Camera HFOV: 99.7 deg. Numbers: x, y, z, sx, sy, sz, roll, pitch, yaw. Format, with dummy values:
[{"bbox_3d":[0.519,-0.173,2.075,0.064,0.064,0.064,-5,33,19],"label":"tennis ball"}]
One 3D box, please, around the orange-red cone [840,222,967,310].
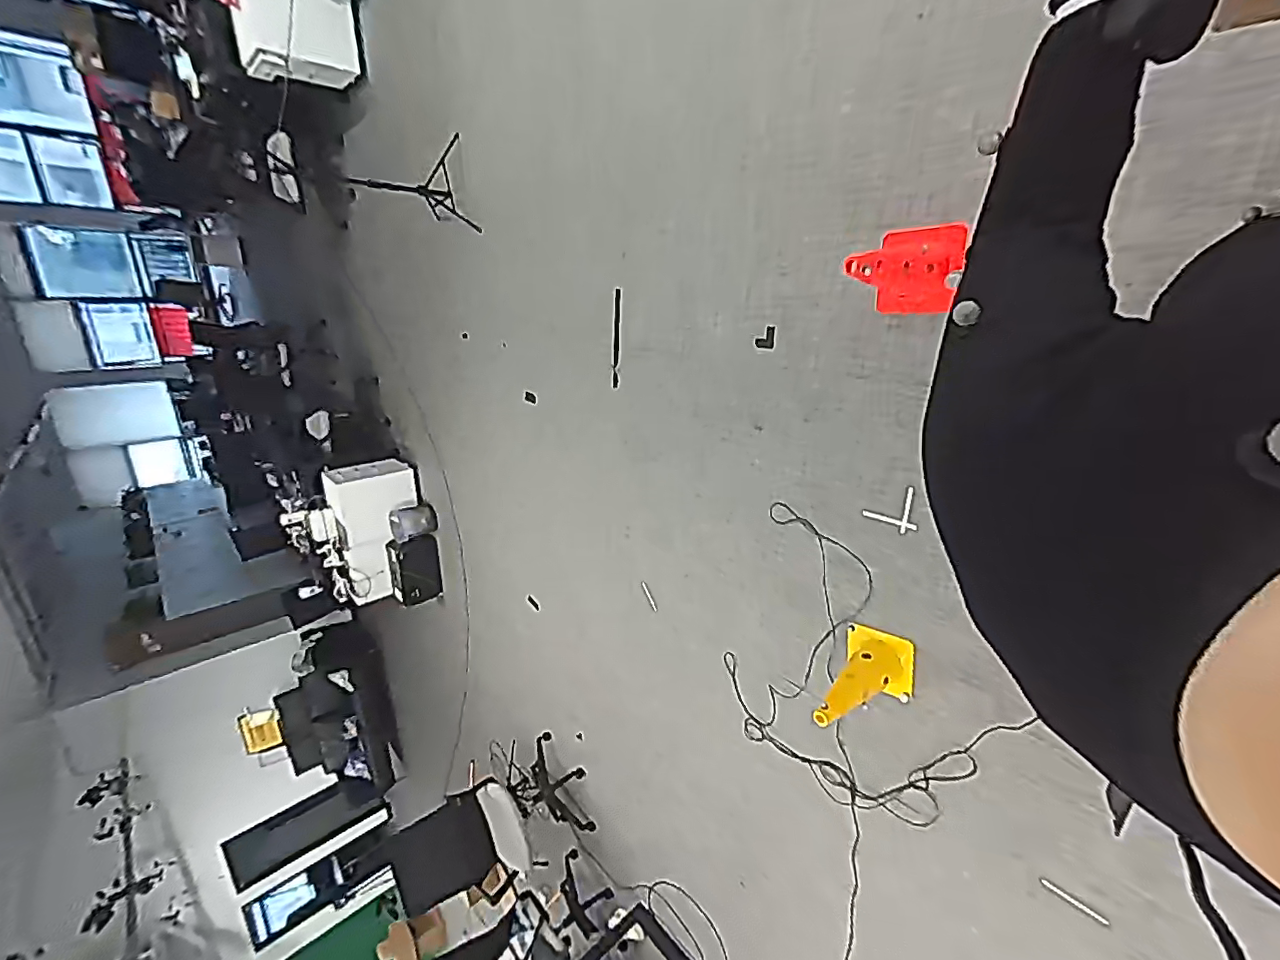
[{"bbox_3d":[0.564,-0.485,1.230,0.198,0.360,0.199,19,118,45],"label":"orange-red cone"}]
